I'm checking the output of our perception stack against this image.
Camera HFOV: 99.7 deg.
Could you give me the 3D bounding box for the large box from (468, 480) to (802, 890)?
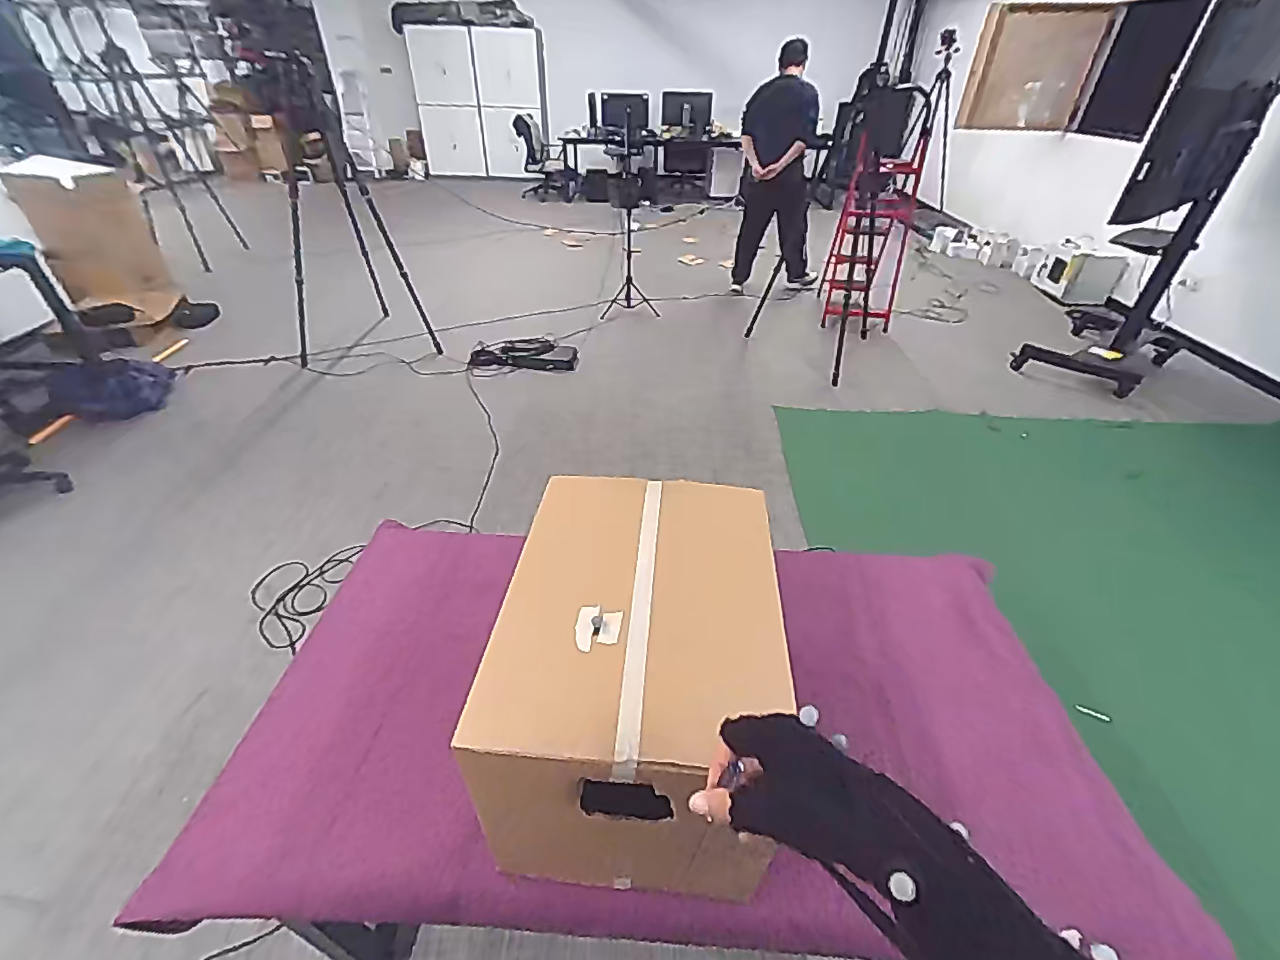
[{"bbox_3d":[0.002,0.251,0.731,0.320,0.320,0.408,5,38,3],"label":"large box"}]
